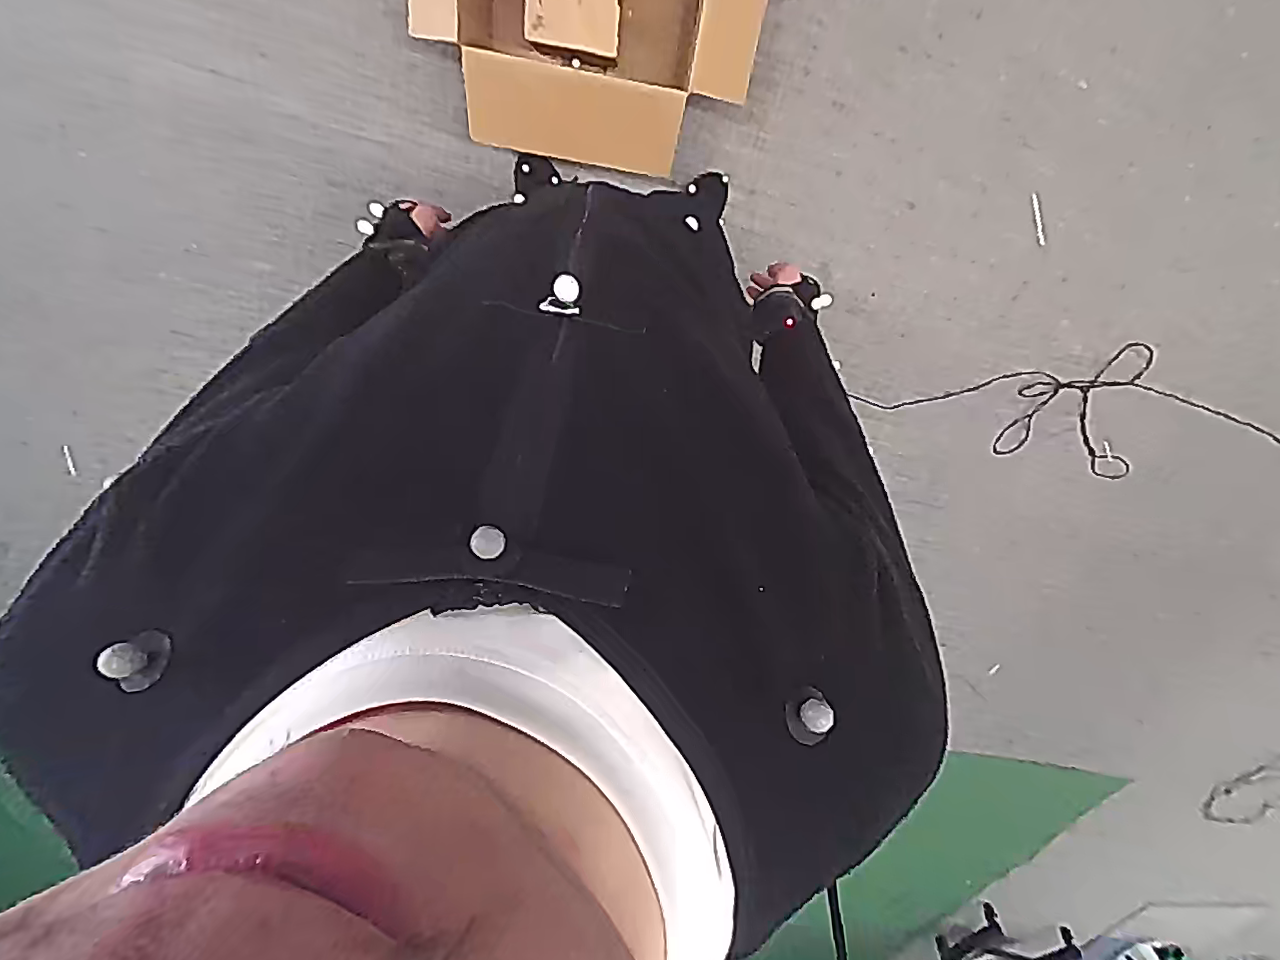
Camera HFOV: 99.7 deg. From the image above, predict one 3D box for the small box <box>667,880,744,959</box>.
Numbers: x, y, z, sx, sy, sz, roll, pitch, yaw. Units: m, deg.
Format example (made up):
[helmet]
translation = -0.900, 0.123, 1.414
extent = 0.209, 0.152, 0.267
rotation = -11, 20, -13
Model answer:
[small box]
translation = 0.186, 1.325, 1.609
extent = 0.168, 0.176, 0.179
rotation = 15, 120, -11
